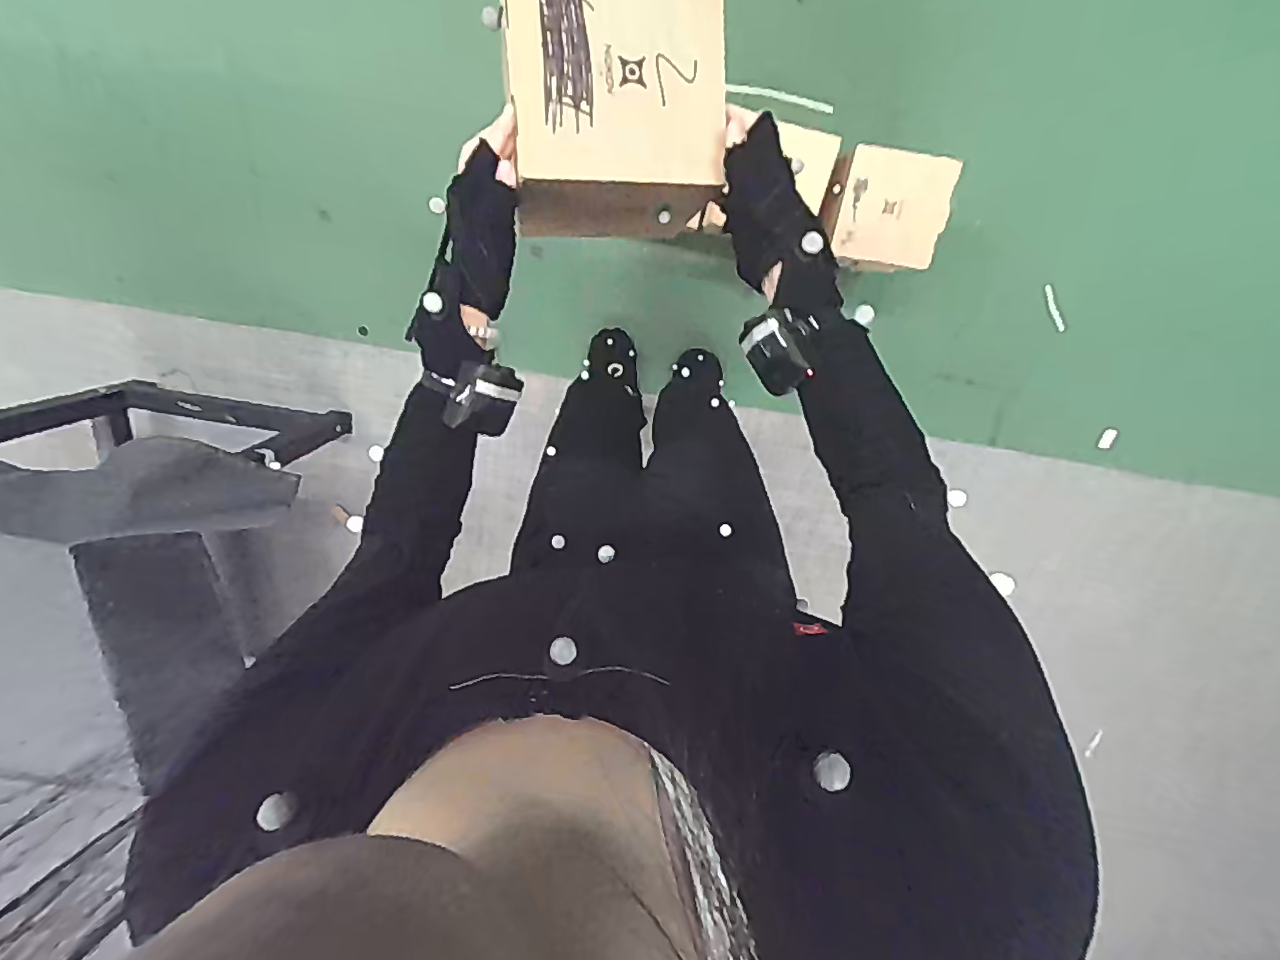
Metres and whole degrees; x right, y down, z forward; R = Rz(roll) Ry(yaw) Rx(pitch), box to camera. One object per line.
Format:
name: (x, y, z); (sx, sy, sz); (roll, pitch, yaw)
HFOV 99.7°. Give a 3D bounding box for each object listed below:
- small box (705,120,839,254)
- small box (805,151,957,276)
small box: (0.223, -0.515, 0.970); (0.179, 0.176, 0.168); (15, 112, -2)
small box: (0.420, -0.472, 0.976); (0.179, 0.176, 0.168); (10, 112, -1)
